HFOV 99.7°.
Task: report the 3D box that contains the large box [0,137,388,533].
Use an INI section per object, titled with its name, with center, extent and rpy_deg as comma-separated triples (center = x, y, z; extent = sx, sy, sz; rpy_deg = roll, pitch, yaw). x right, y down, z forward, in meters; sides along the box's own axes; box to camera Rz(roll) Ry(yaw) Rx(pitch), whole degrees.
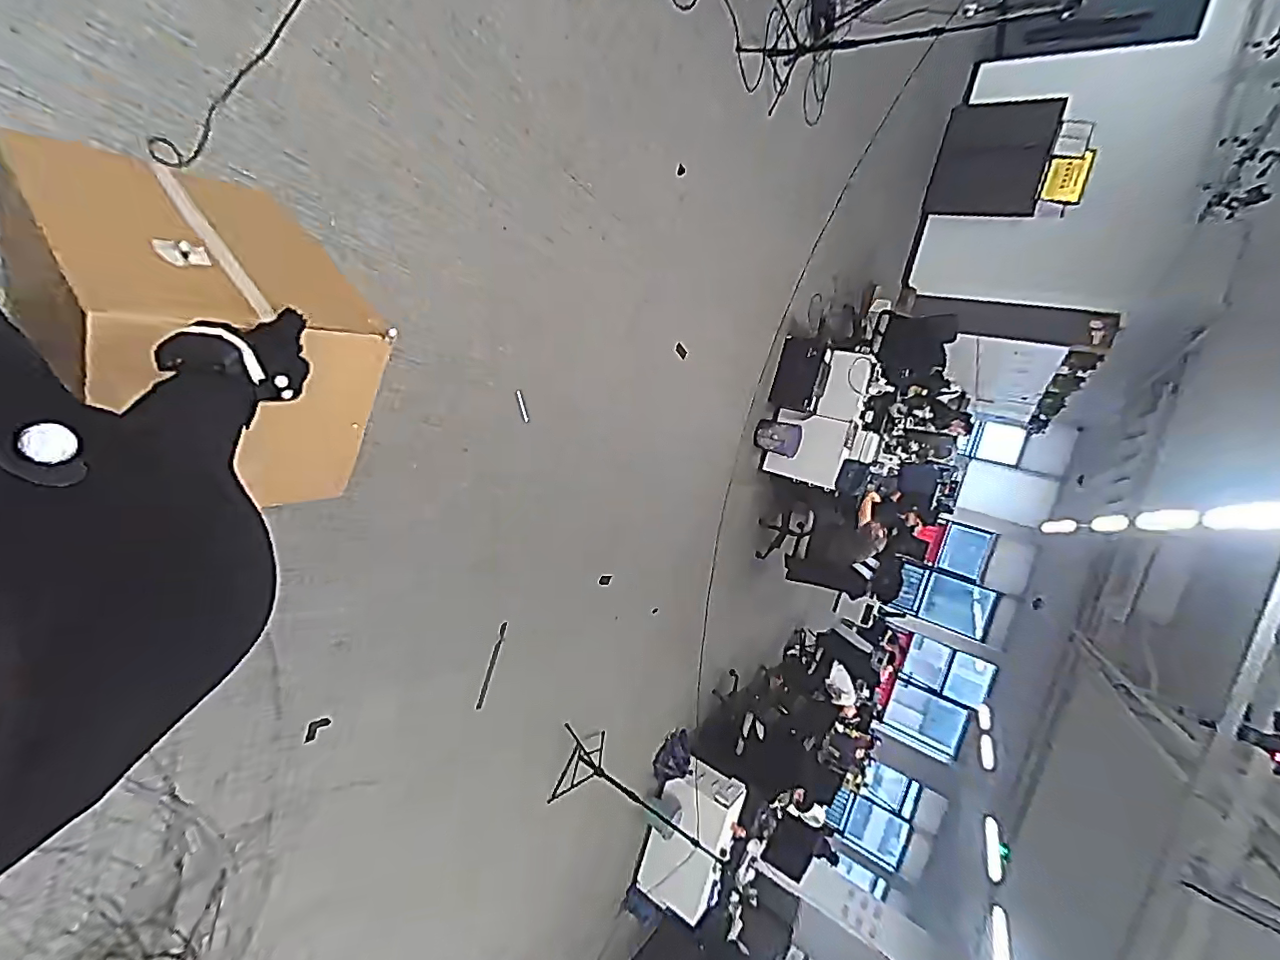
[large box]
center = -0.648, -0.194, 0.776
extent = 0.320, 0.408, 0.320
rpy_deg = -16, 146, -54
